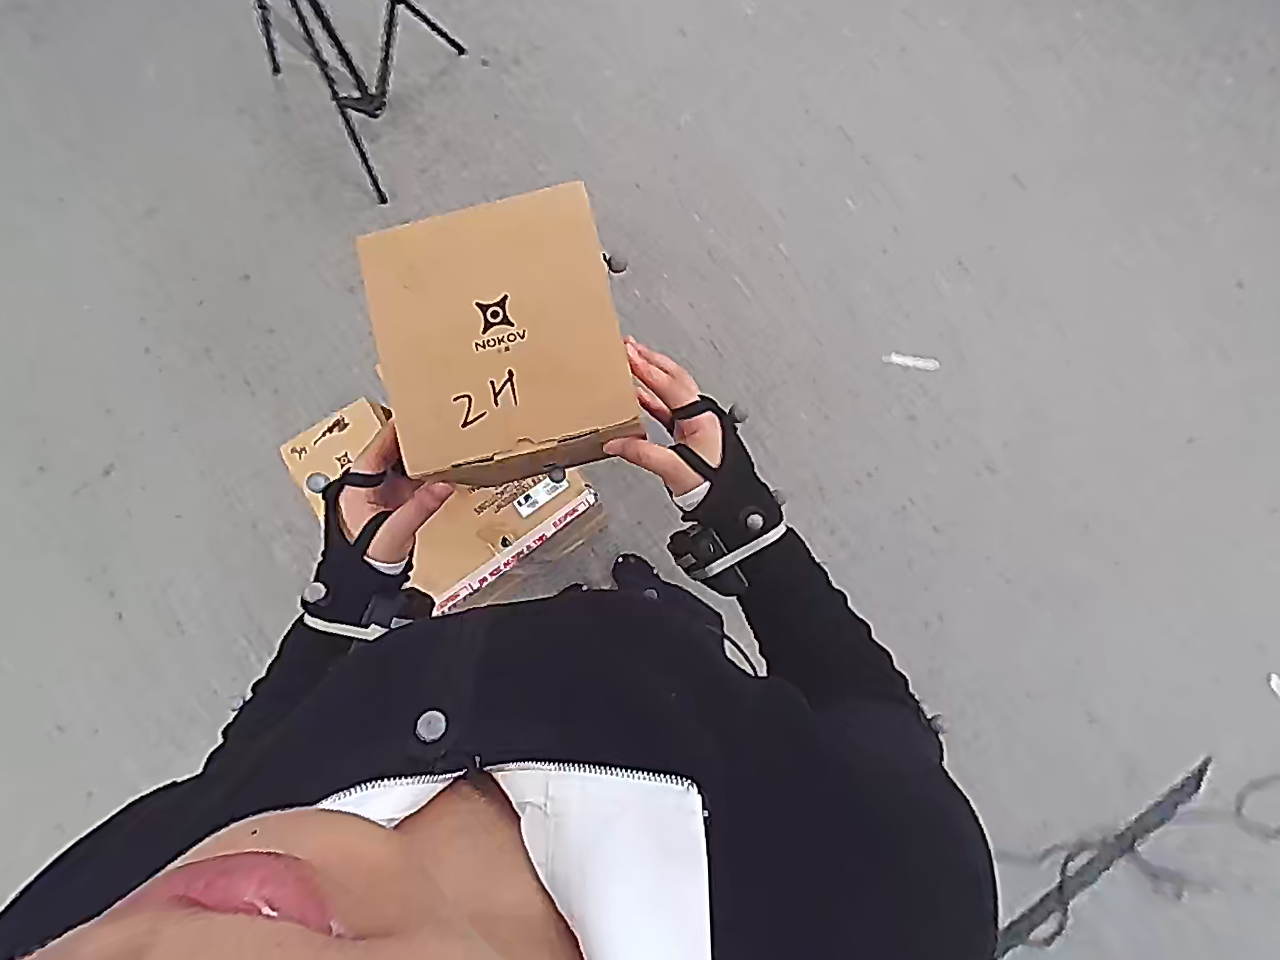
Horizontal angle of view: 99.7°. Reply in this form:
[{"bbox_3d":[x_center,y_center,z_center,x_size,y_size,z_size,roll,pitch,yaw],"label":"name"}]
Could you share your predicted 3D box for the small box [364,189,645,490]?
[{"bbox_3d":[-0.092,-0.095,0.444,0.168,0.176,0.179,-12,86,1],"label":"small box"}]
